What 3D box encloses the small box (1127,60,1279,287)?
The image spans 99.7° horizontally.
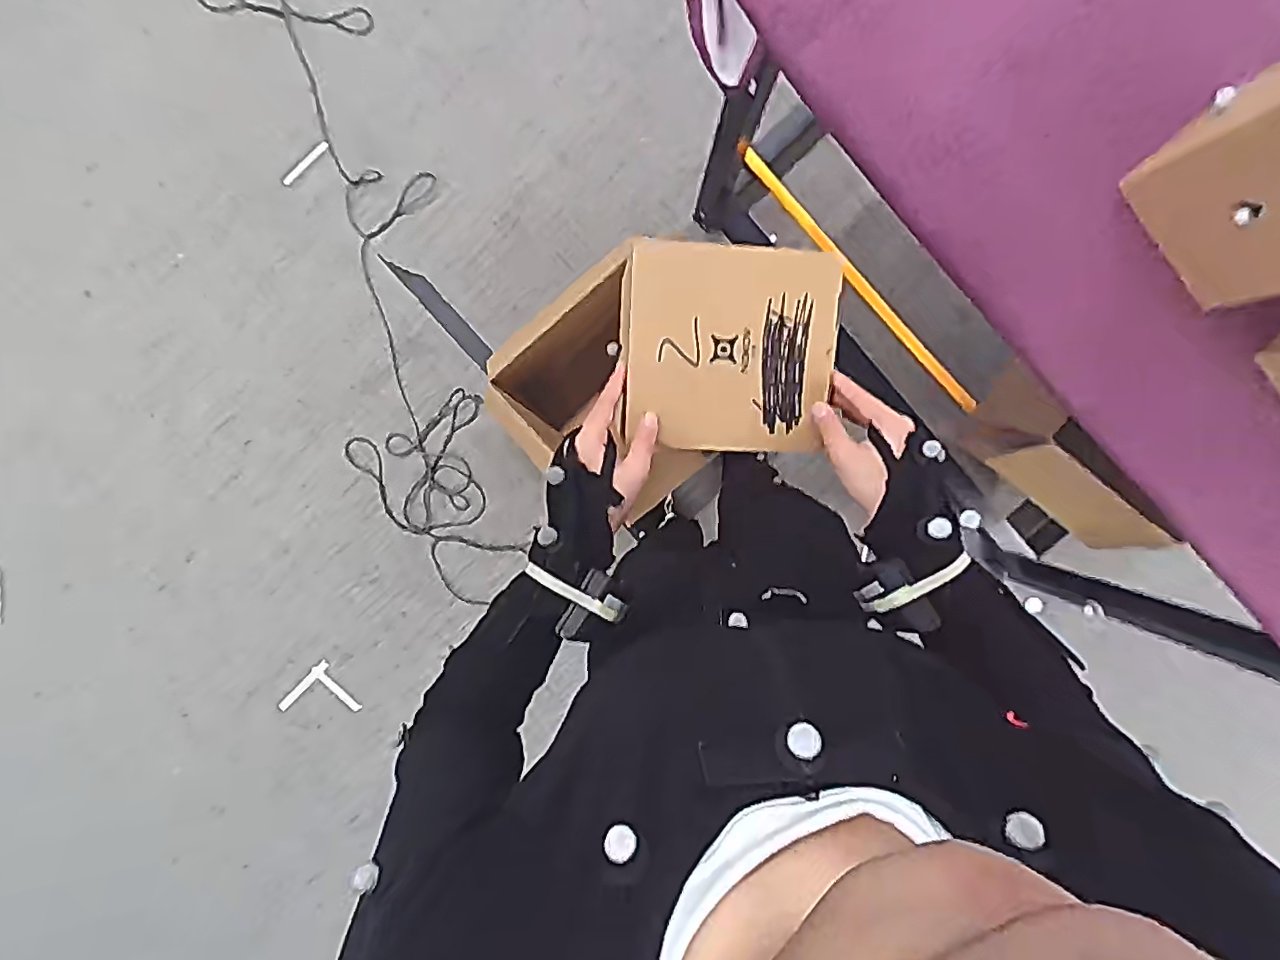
[{"bbox_3d":[0.638,-0.306,0.508,0.168,0.176,0.179,-39,93,3],"label":"small box"}]
